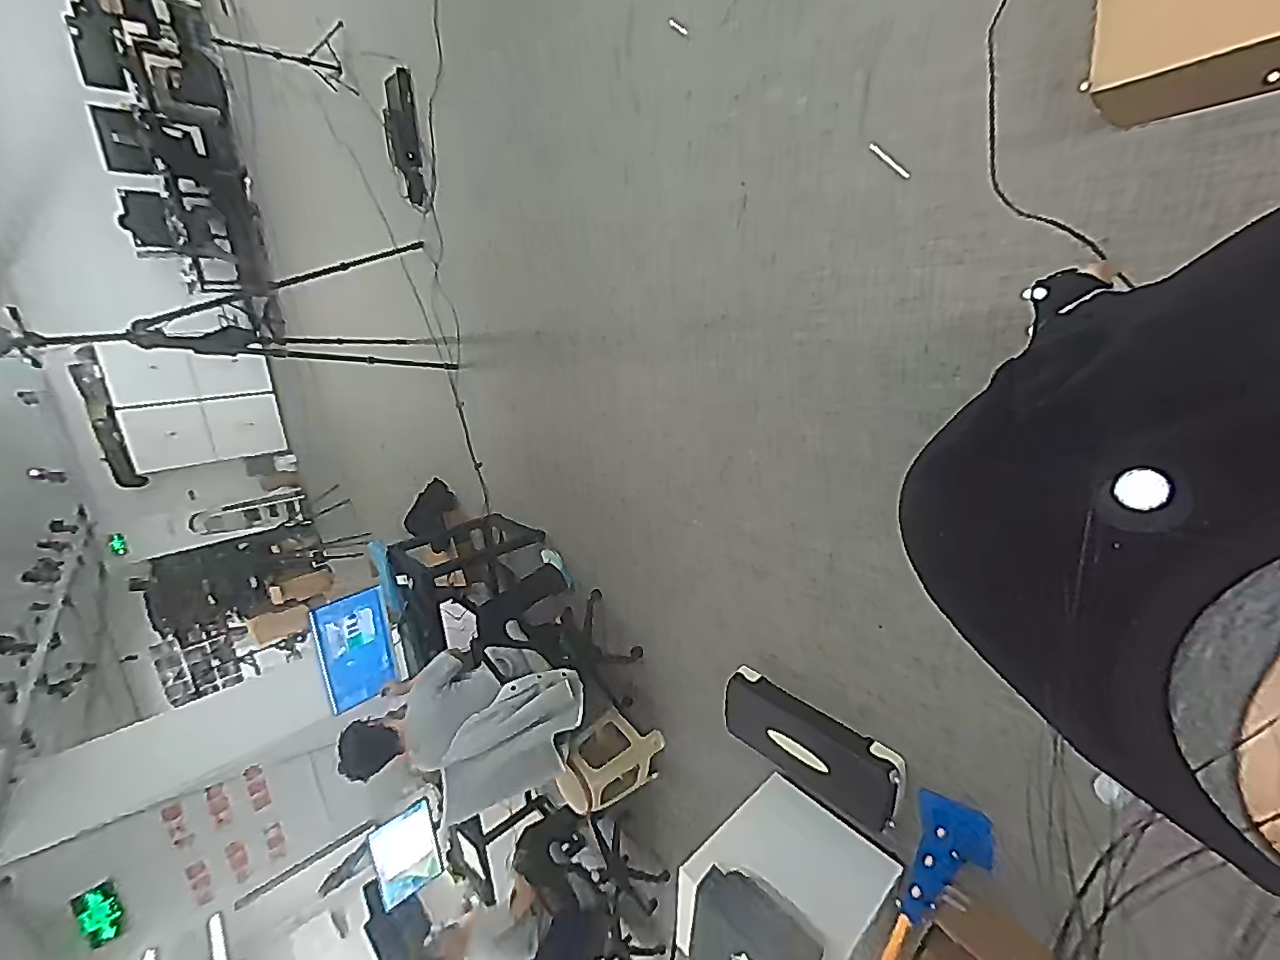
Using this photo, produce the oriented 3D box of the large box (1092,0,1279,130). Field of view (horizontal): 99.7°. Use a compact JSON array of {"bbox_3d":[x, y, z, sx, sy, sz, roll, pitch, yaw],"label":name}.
[{"bbox_3d":[0.968,-0.776,0.795,0.408,0.320,0.320,11,110,47],"label":"large box"}]
